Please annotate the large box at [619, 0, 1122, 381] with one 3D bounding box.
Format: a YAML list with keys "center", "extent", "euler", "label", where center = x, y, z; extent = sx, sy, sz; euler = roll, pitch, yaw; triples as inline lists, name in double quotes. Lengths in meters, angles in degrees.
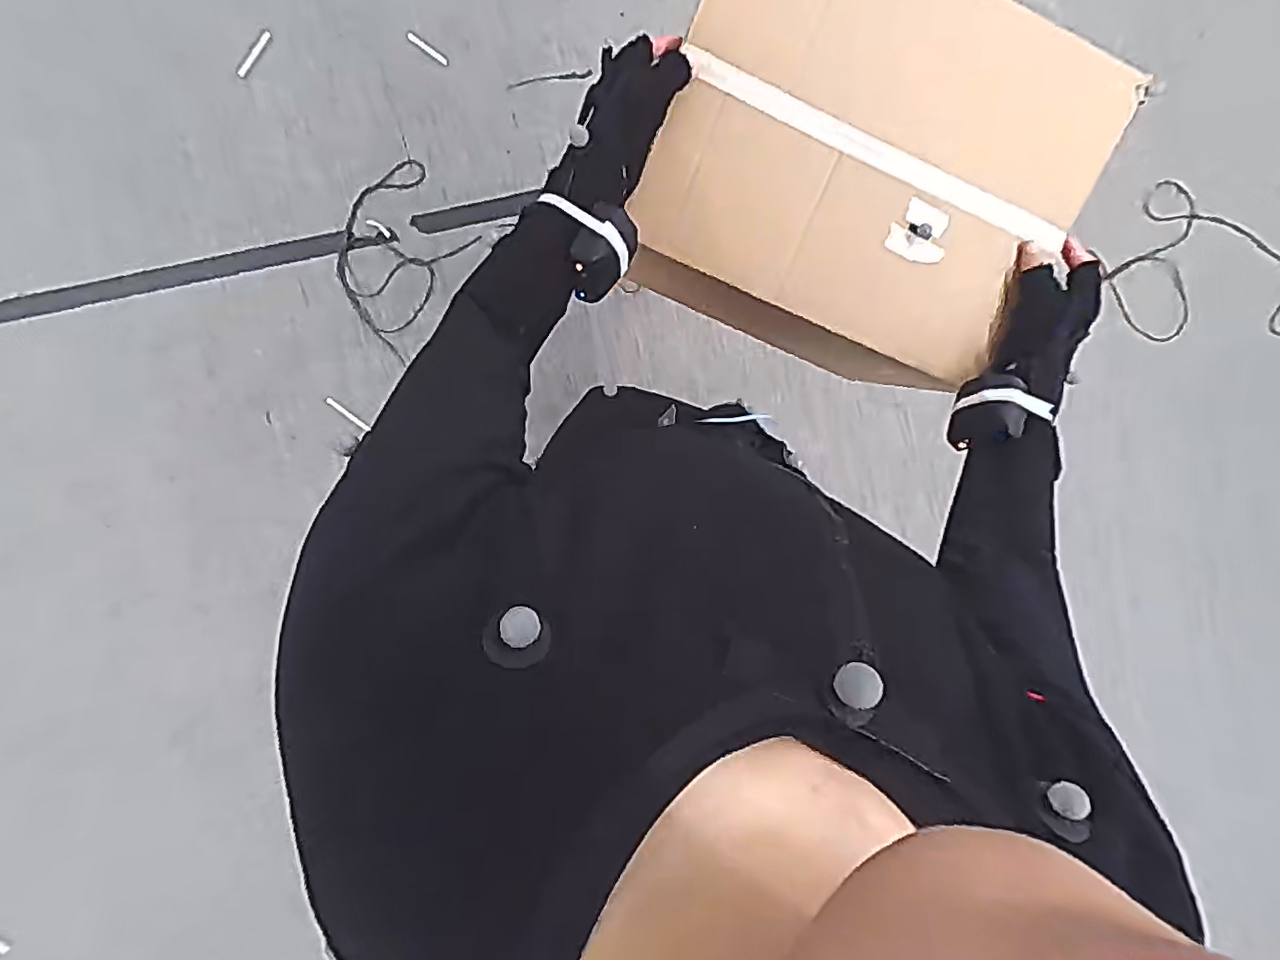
- center: [0.212, -0.346, 0.662]
  extent: [0.408, 0.320, 0.320]
  euler: [22, 103, -8]
  label: "large box"
